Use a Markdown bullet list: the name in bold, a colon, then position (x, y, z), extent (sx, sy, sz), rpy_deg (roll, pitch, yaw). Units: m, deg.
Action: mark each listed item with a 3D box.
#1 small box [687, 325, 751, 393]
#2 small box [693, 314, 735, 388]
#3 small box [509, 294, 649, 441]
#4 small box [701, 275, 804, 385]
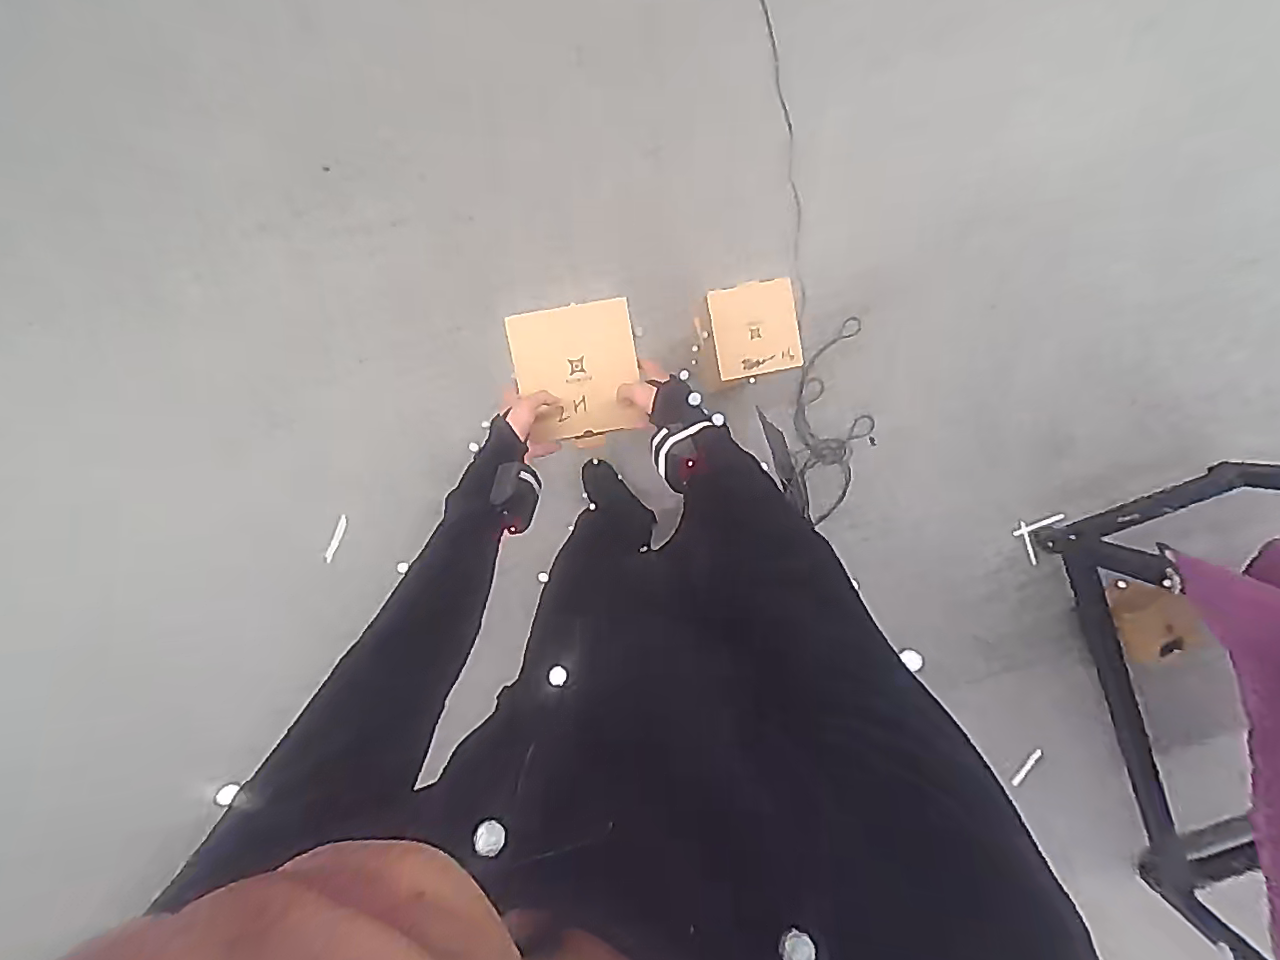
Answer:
- **small box**: position (0.231, -0.342, 1.449), extent (0.168, 0.176, 0.179), rpy_deg (-19, 96, 3)
- **small box**: position (0.230, -0.323, 1.288), extent (0.179, 0.176, 0.168), rpy_deg (-18, 95, 3)
- **small box**: position (-0.084, -0.162, 0.803), extent (0.168, 0.176, 0.179), rpy_deg (-10, 101, 0)
- **small box**: position (0.226, -0.303, 1.125), extent (0.168, 0.176, 0.179), rpy_deg (-10, 95, 2)
